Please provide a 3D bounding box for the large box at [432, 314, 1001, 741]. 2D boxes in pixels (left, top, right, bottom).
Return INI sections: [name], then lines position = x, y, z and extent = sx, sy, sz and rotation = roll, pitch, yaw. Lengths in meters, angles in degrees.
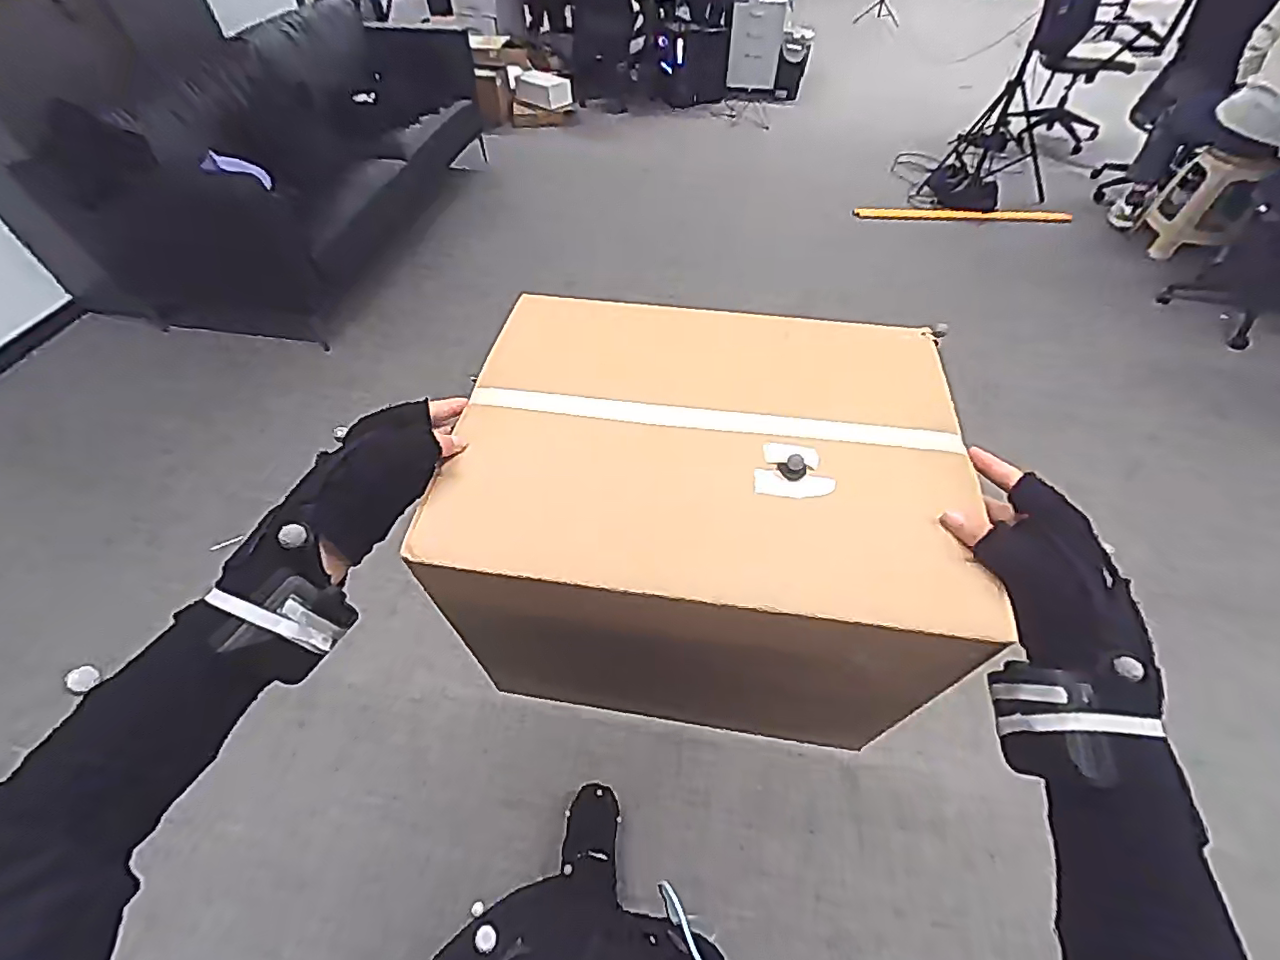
[large box]
position = 0.062, 0.055, 0.578
extent = 0.408, 0.320, 0.320
rotation = 7, 53, 5
